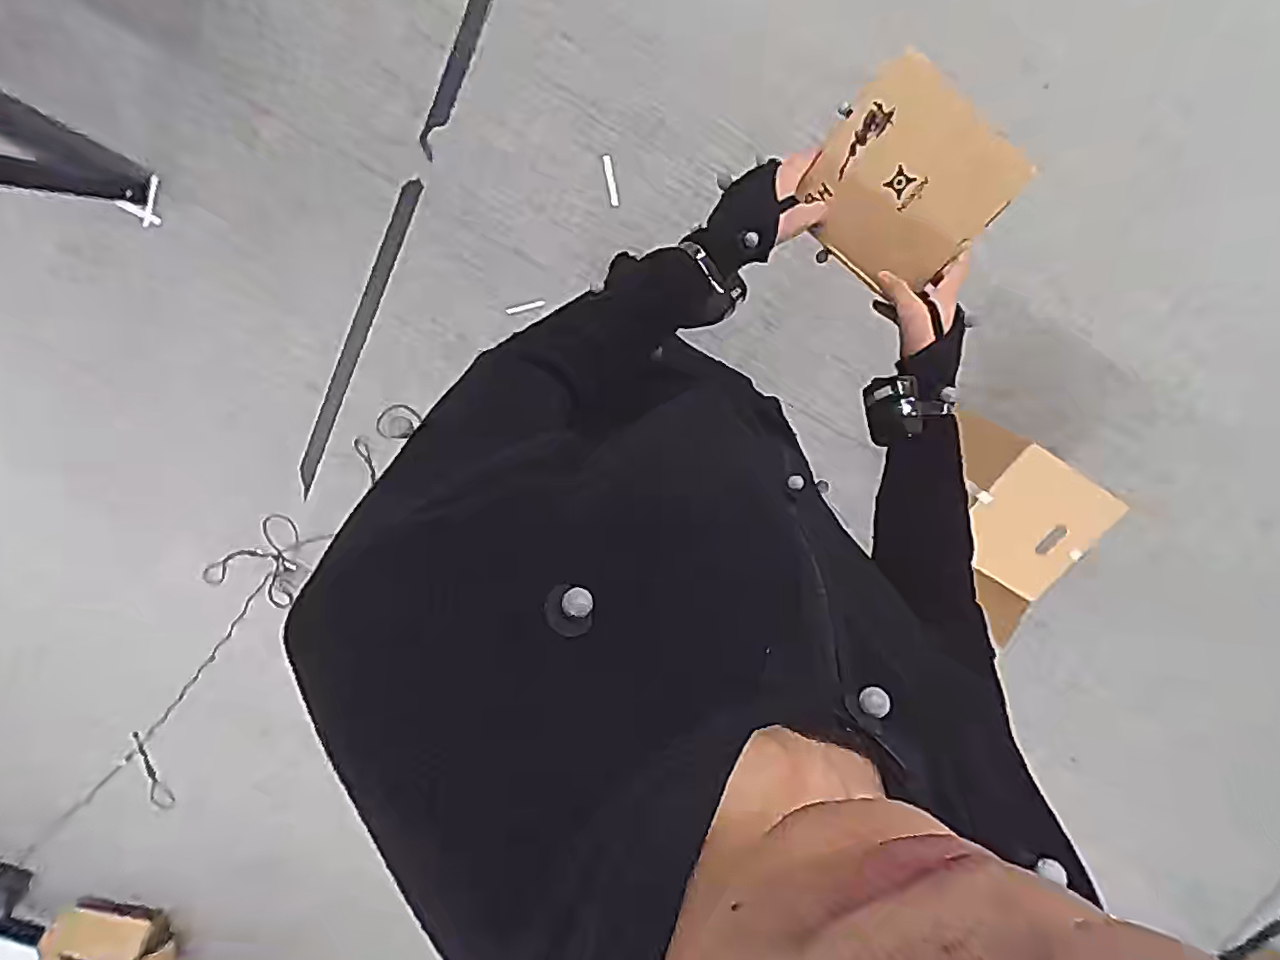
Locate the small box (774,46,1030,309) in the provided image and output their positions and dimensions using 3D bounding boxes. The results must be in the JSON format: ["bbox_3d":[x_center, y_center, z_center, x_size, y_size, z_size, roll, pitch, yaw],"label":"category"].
[{"bbox_3d":[0.269,-0.325,0.601,0.179,0.176,0.168,37,118,-9],"label":"small box"}]
